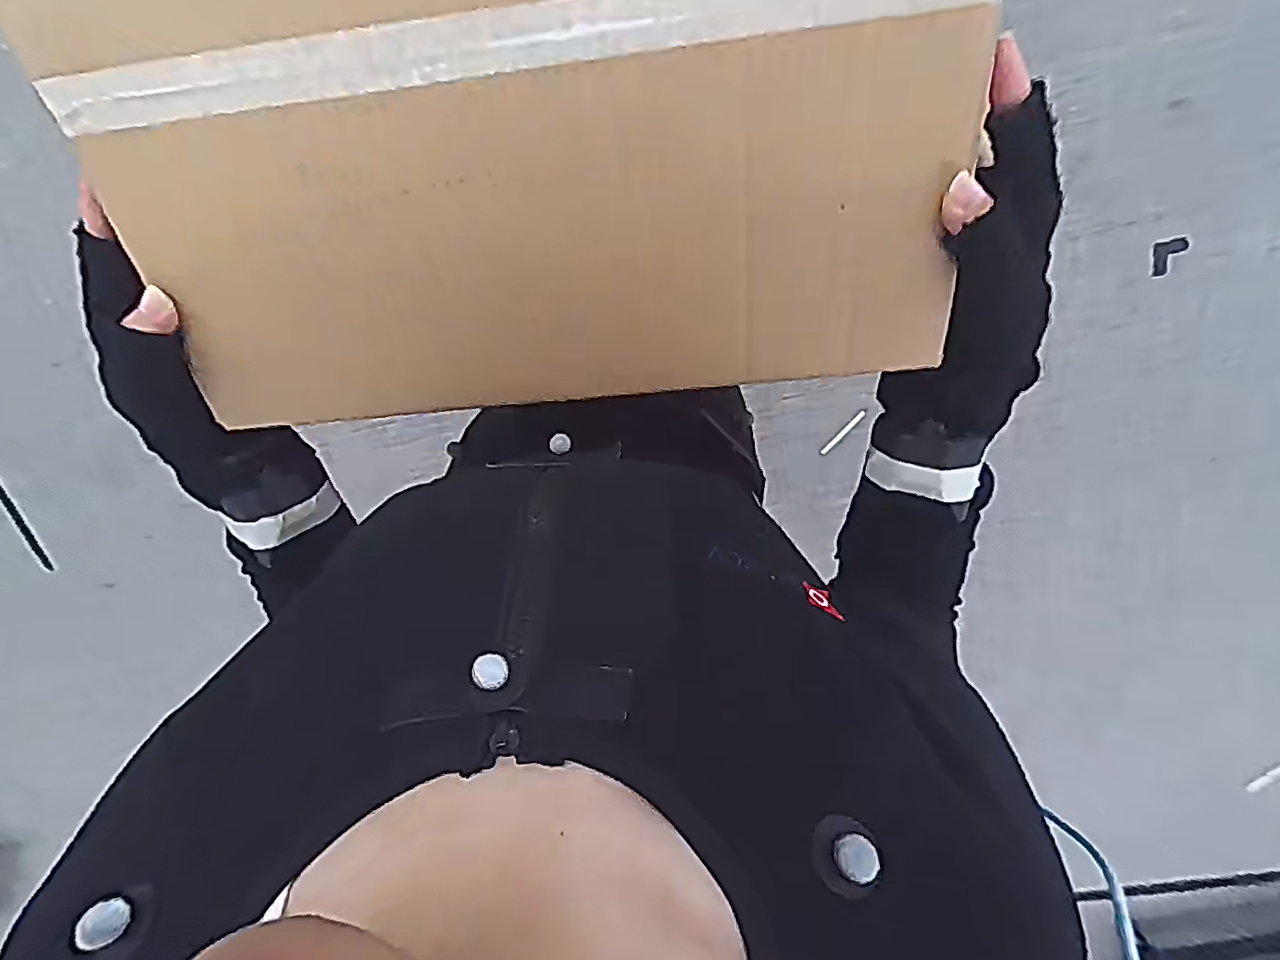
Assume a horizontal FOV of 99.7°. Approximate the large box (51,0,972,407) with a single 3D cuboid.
[{"bbox_3d":[-0.055,-0.265,0.368,0.408,0.320,0.320,-5,119,5],"label":"large box"}]
